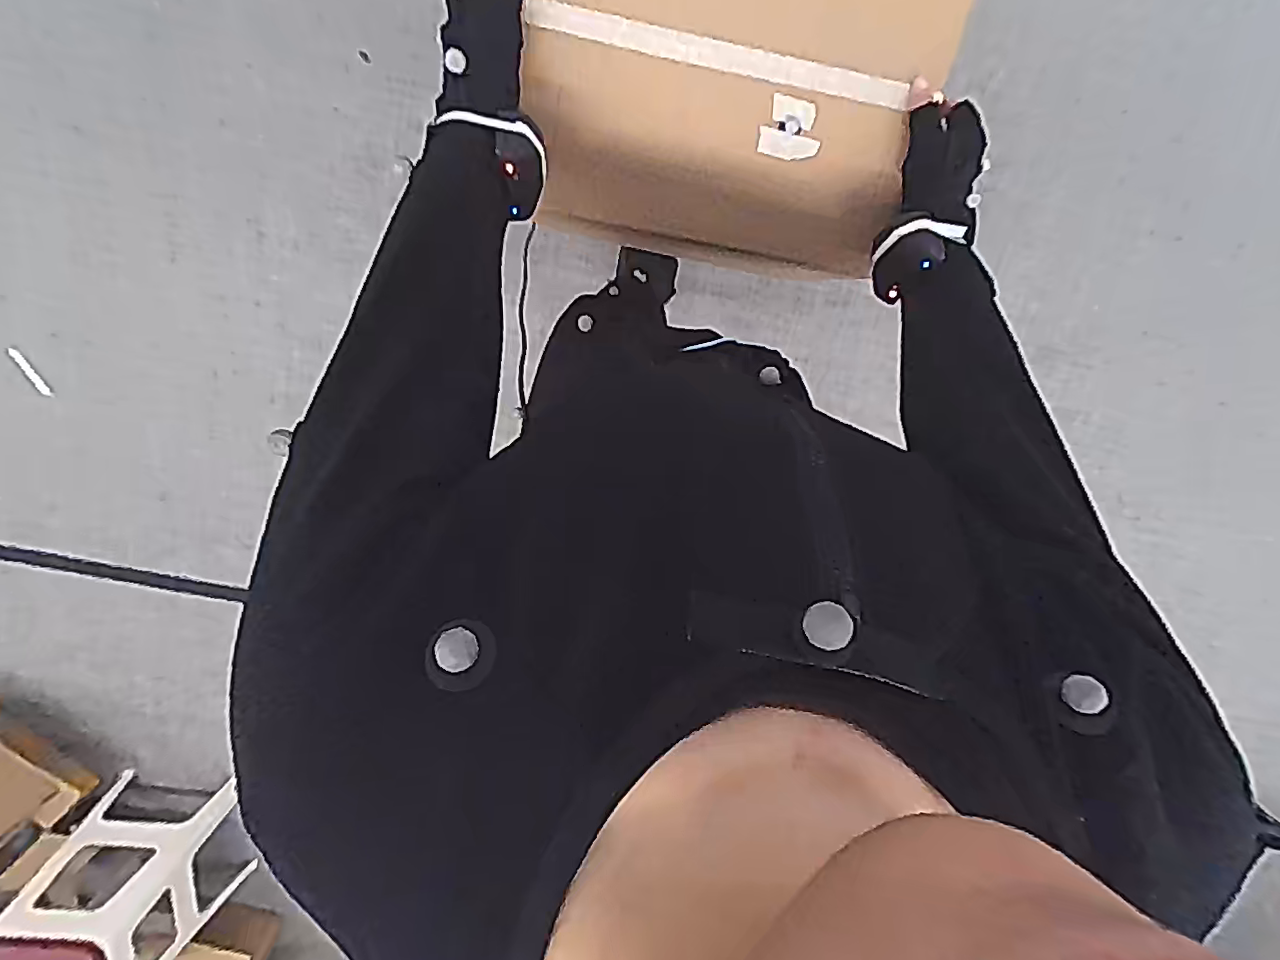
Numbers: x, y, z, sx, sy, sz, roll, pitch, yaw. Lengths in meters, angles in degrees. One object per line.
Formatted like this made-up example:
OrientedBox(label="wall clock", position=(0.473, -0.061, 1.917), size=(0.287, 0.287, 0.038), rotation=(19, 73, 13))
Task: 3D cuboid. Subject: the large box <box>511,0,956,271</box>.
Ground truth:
OrientedBox(label="large box", position=(0.079, -0.450, 0.655), size=(0.408, 0.320, 0.320), rotation=(9, 111, -6))
